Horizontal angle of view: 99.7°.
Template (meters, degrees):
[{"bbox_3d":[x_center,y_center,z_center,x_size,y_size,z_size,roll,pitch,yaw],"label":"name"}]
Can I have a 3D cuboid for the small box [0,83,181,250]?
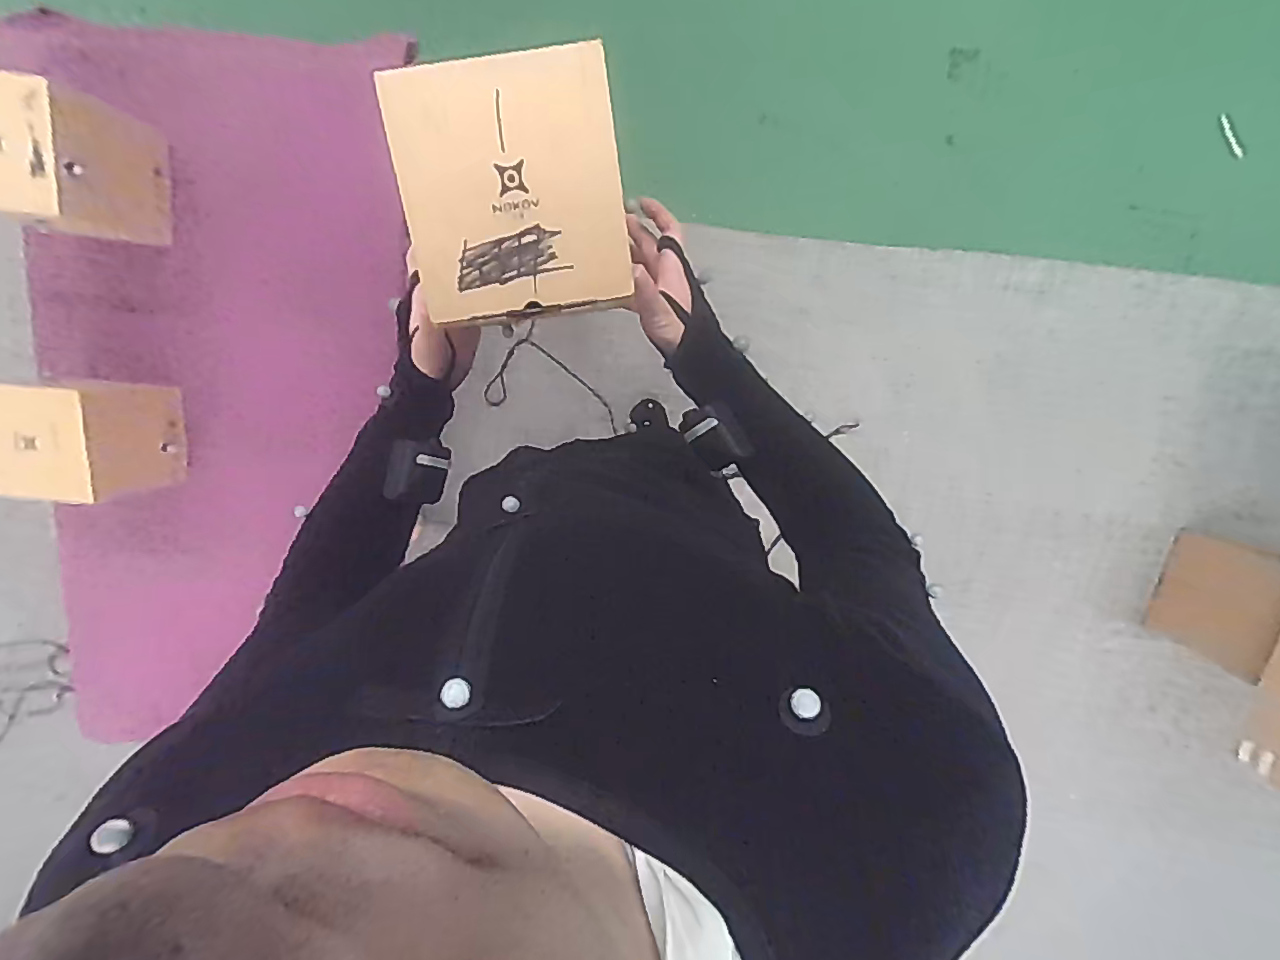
[{"bbox_3d":[-0.822,-0.442,0.782,0.179,0.176,0.168,7,102,3],"label":"small box"}]

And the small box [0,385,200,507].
[{"bbox_3d":[-0.856,-0.062,0.859,0.179,0.176,0.168,5,102,2],"label":"small box"}]

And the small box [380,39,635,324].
[{"bbox_3d":[-0.094,-0.238,0.479,0.168,0.176,0.179,-7,105,1],"label":"small box"}]
